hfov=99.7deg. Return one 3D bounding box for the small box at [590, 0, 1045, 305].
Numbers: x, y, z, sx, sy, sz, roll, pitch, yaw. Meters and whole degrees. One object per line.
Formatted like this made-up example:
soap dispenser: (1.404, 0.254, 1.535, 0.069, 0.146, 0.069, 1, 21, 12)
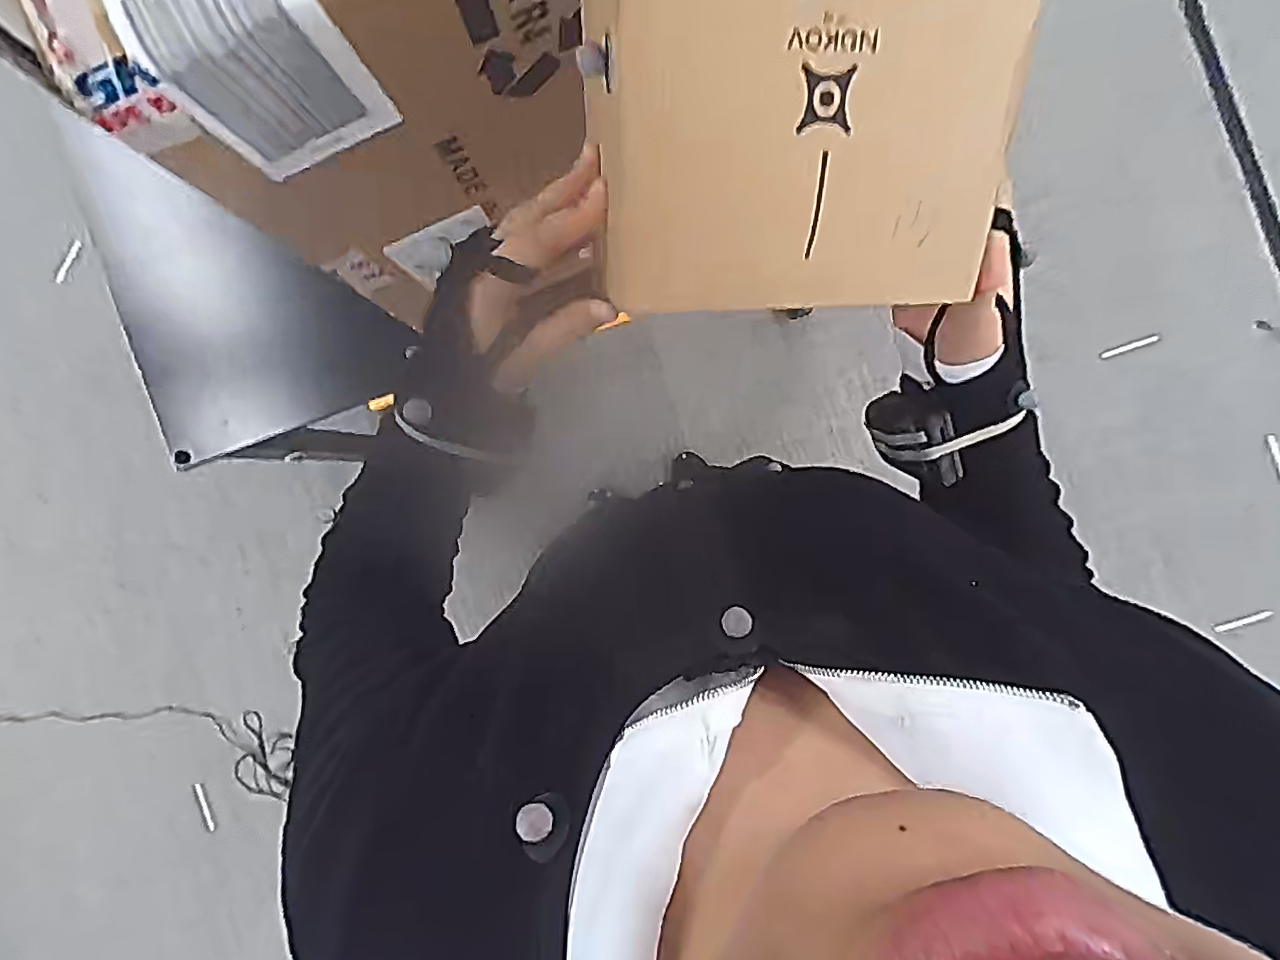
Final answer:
small box: (0.064, -0.190, 0.282, 0.168, 0.176, 0.179, -4, 114, -8)
